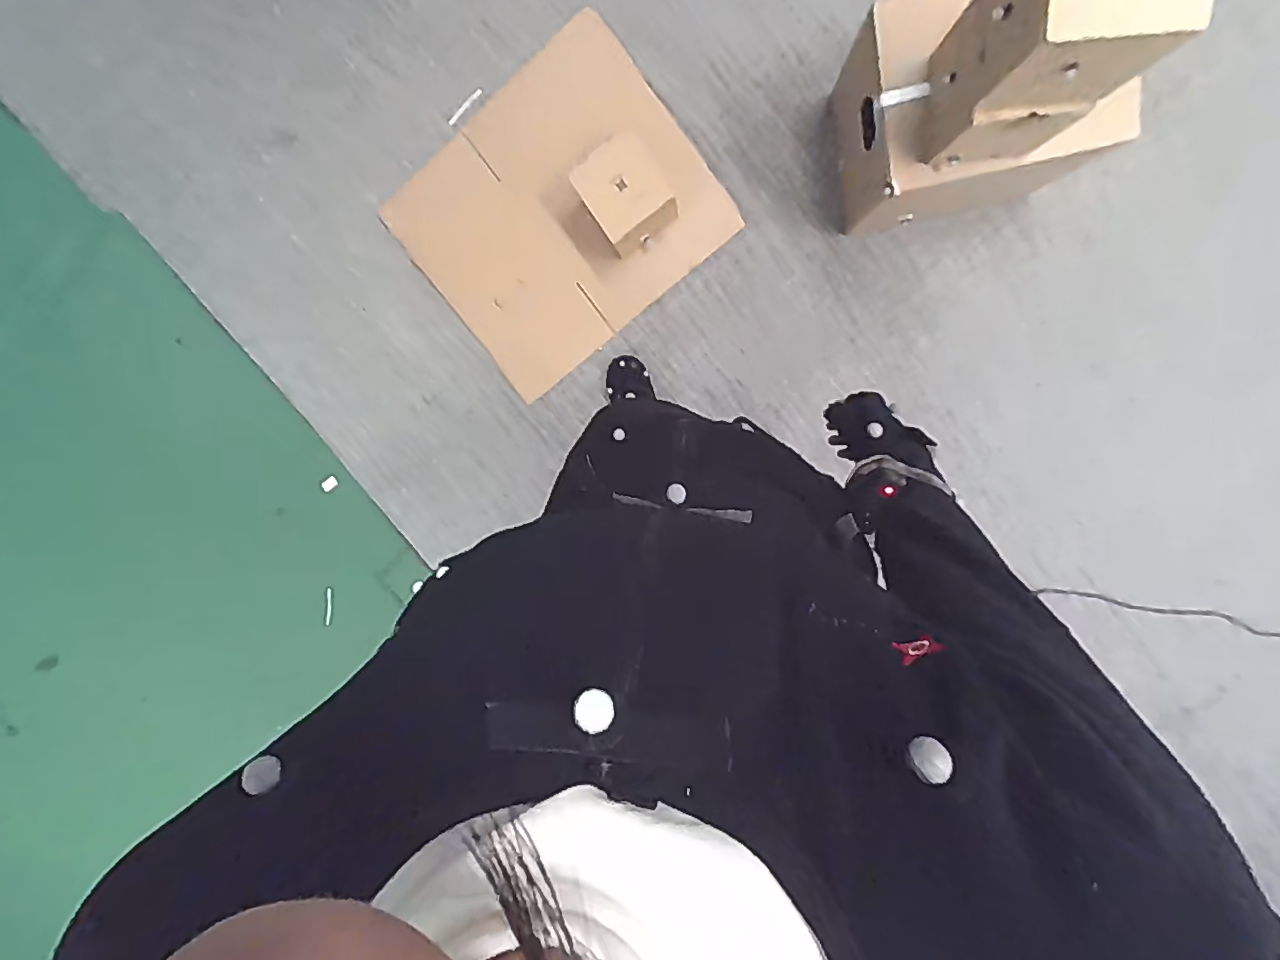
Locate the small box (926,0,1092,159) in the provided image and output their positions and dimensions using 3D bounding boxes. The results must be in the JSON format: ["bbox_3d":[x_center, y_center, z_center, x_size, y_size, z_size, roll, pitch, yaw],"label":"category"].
[{"bbox_3d":[0.563,-0.621,0.838,0.168,0.176,0.179,-2,101,7],"label":"small box"}]

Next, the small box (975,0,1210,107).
[{"bbox_3d":[0.549,-0.603,0.678,0.179,0.176,0.168,-4,99,7],"label":"small box"}]

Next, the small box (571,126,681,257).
[{"bbox_3d":[-0.024,-0.632,1.211,0.168,0.176,0.179,-35,95,13],"label":"small box"}]
